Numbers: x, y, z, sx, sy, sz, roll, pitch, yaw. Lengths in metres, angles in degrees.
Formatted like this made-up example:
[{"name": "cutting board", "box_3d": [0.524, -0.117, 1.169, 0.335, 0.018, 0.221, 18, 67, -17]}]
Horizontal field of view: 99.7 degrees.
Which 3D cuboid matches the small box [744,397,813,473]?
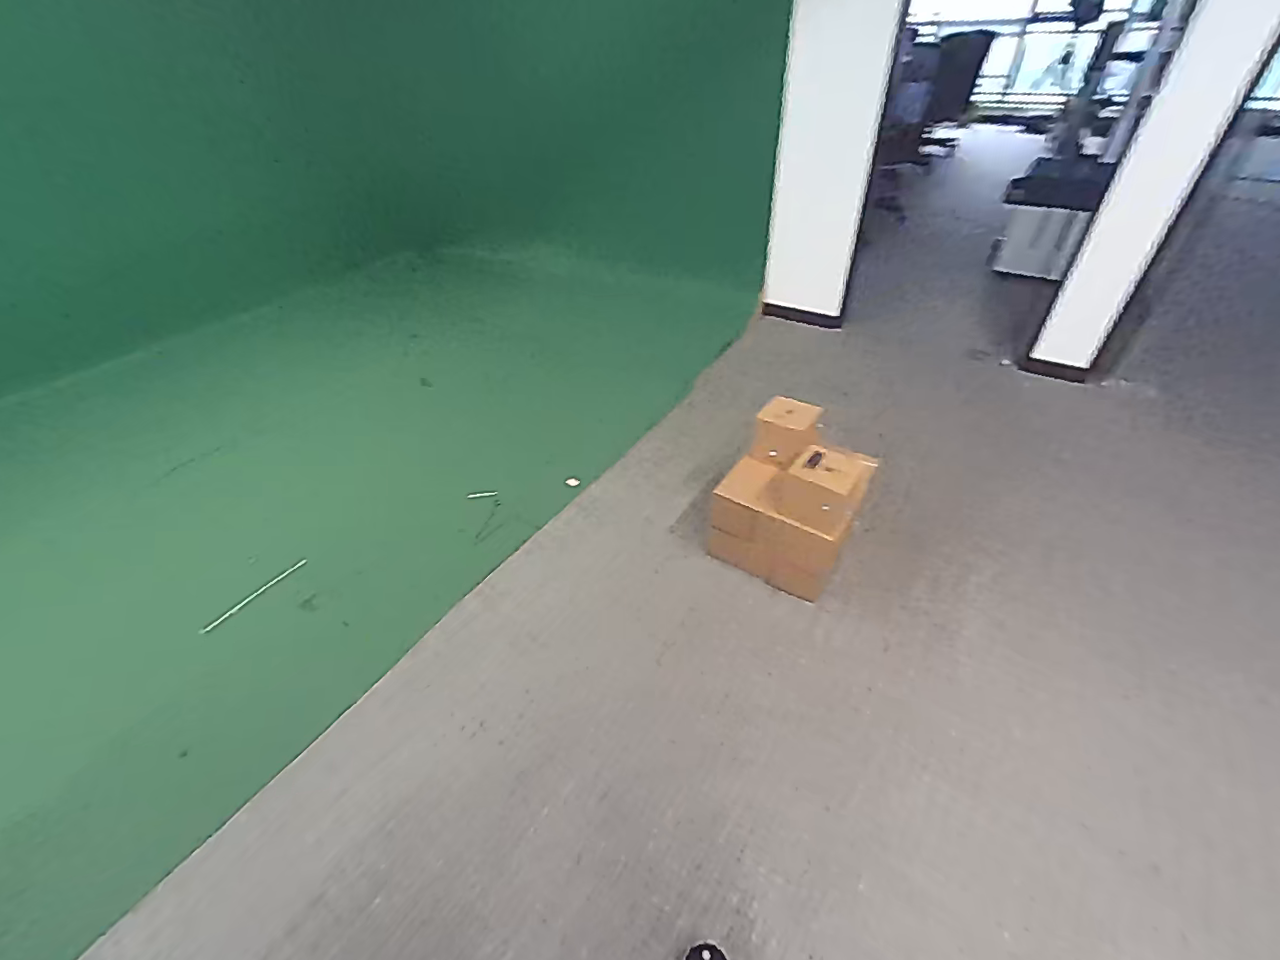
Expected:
[{"name": "small box", "box_3d": [0.467, -0.153, 1.843, 0.168, 0.176, 0.179, 22, 44, 27]}]
